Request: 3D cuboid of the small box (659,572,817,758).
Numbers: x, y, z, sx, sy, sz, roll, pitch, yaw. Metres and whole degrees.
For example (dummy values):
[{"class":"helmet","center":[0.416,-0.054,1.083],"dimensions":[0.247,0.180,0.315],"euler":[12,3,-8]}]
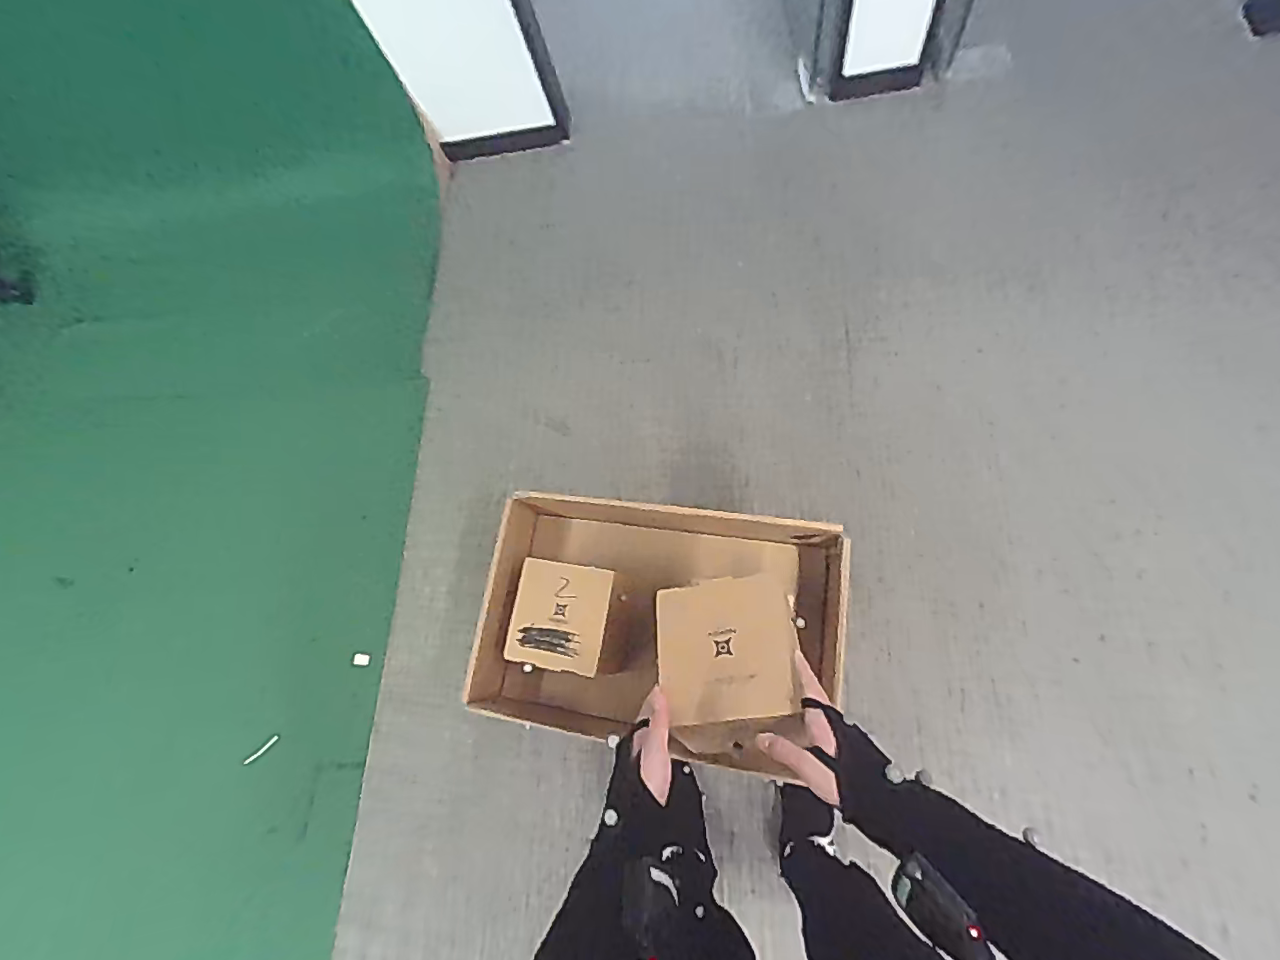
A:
[{"class":"small box","center":[0.127,0.246,0.709],"dimensions":[0.168,0.176,0.179],"euler":[-13,49,15]}]
